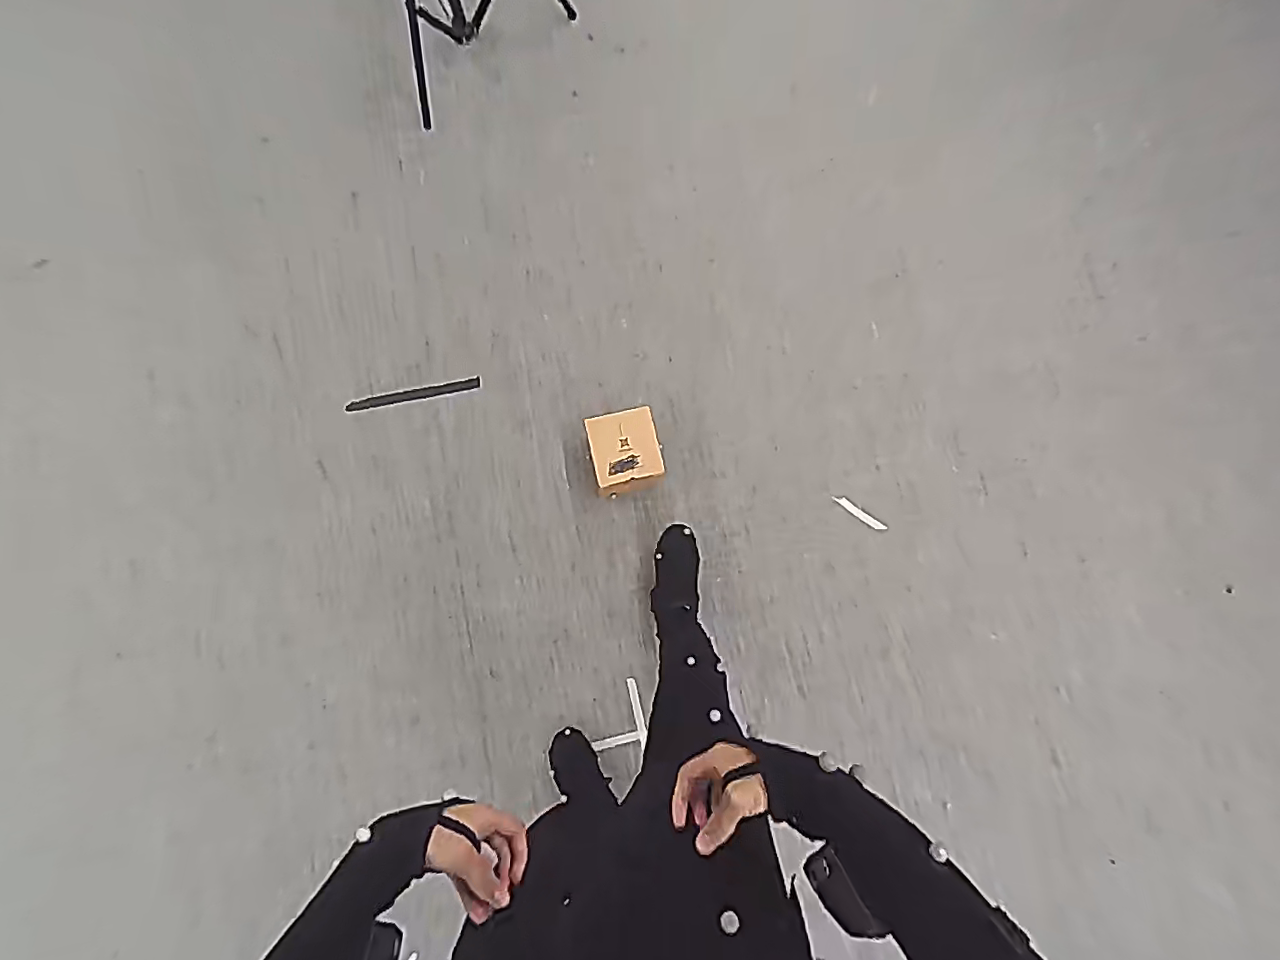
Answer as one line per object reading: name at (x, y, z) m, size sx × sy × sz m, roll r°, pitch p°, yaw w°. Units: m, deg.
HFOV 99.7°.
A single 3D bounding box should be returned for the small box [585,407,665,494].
small box at (-0.039, -0.066, 1.373) m, size 0.168 × 0.176 × 0.179 m, roll -13°, pitch 81°, yaw -5°
